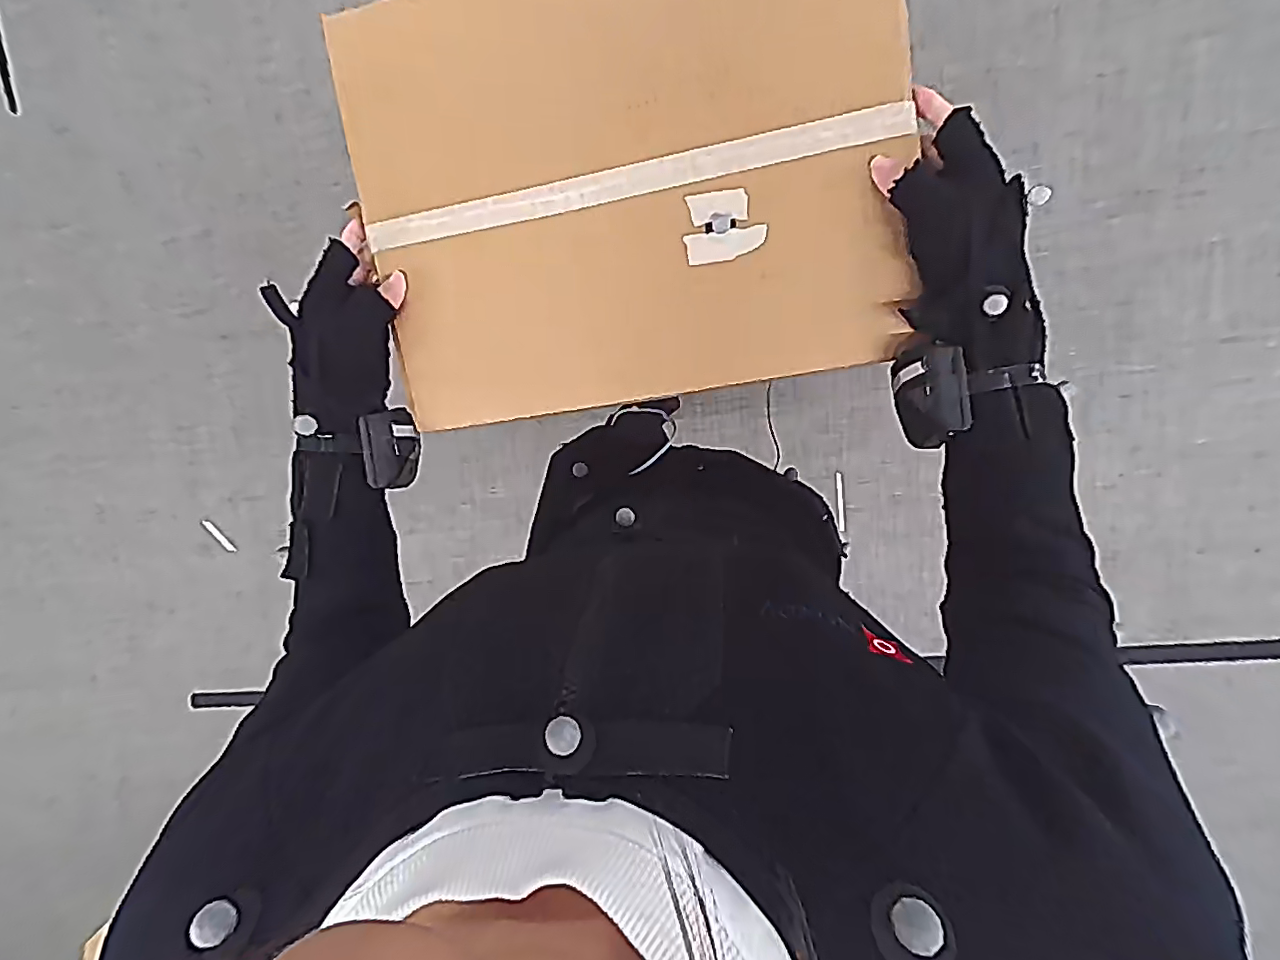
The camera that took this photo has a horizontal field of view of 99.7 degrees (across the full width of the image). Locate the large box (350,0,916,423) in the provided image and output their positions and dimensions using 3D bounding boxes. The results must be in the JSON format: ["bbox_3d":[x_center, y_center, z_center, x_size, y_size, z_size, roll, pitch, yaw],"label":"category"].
[{"bbox_3d":[0.006,-0.250,0.558,0.408,0.320,0.320,-8,100,8],"label":"large box"}]
